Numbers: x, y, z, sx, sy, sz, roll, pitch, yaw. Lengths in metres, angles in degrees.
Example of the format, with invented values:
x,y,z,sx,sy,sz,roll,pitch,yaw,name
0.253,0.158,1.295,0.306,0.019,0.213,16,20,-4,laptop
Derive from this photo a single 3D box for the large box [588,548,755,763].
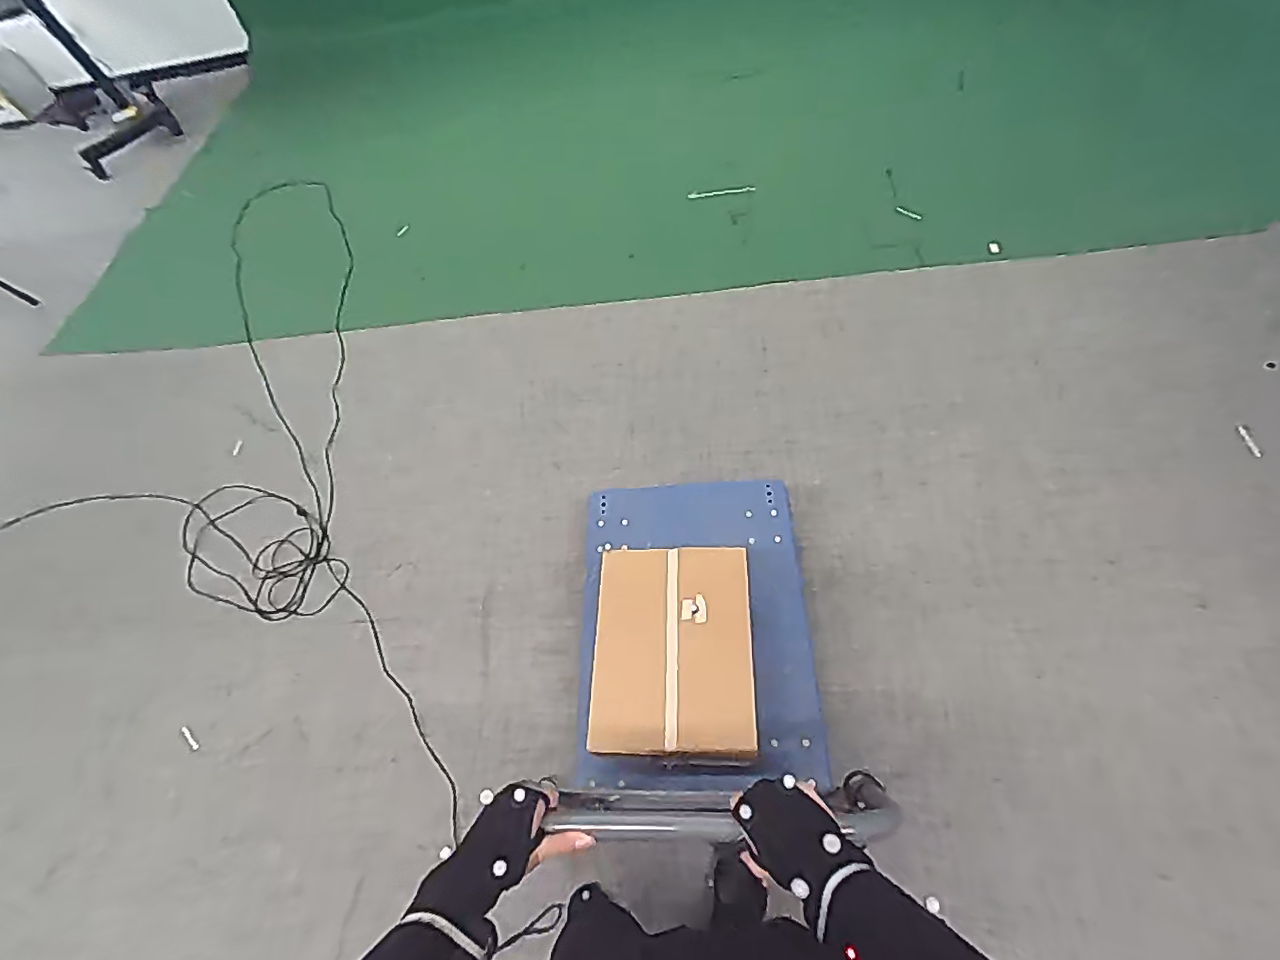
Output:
x,y,z,sx,sy,sz,roll,pitch,yaw,name
0.083,0.399,1.207,0.320,0.320,0.408,-1,59,8,large box
